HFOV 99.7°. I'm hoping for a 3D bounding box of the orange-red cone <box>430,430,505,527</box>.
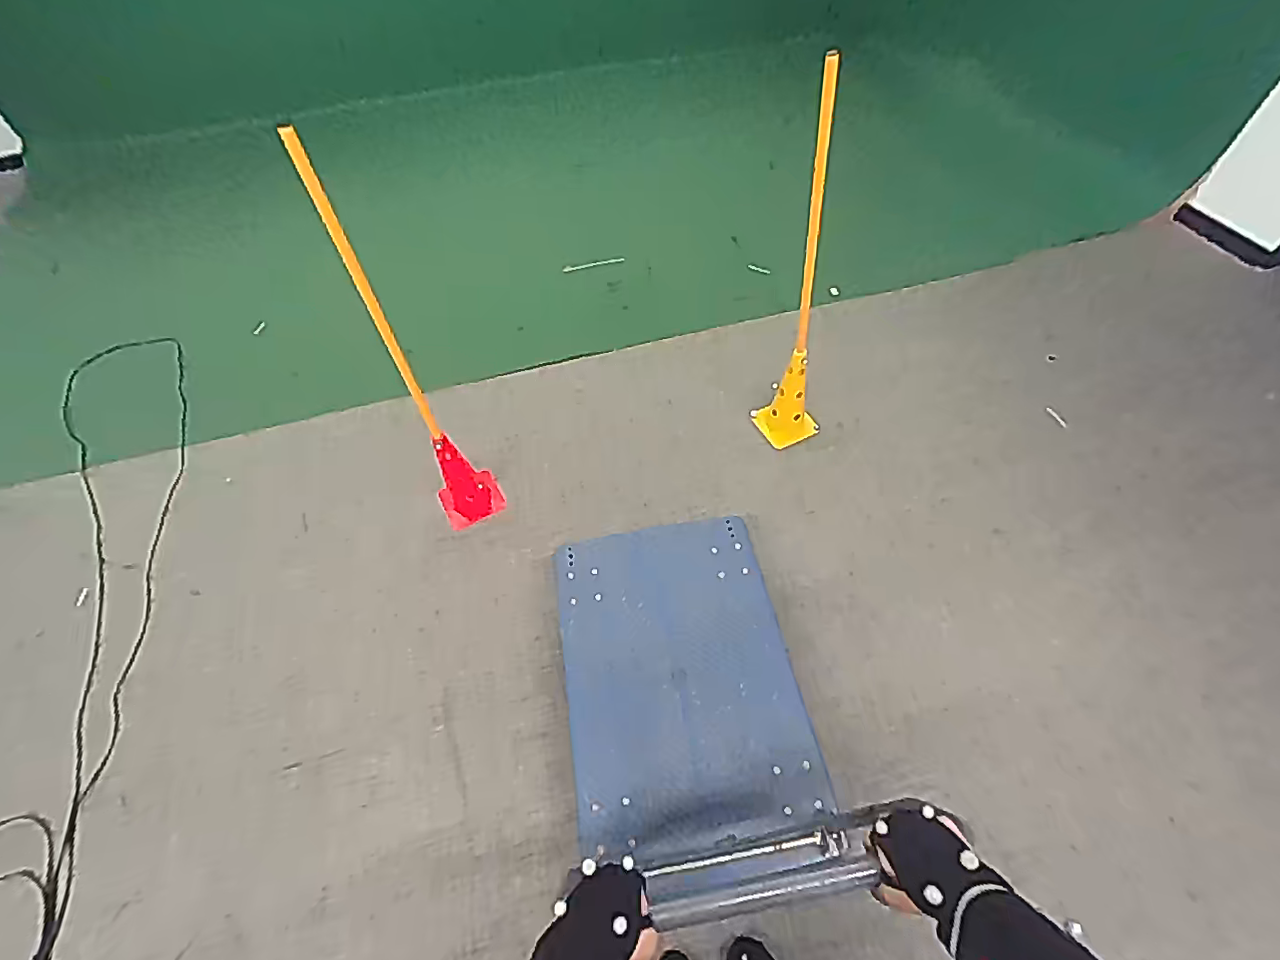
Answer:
[{"bbox_3d":[-0.606,-0.035,1.774,0.199,0.360,0.198,-27,57,-13],"label":"orange-red cone"}]
